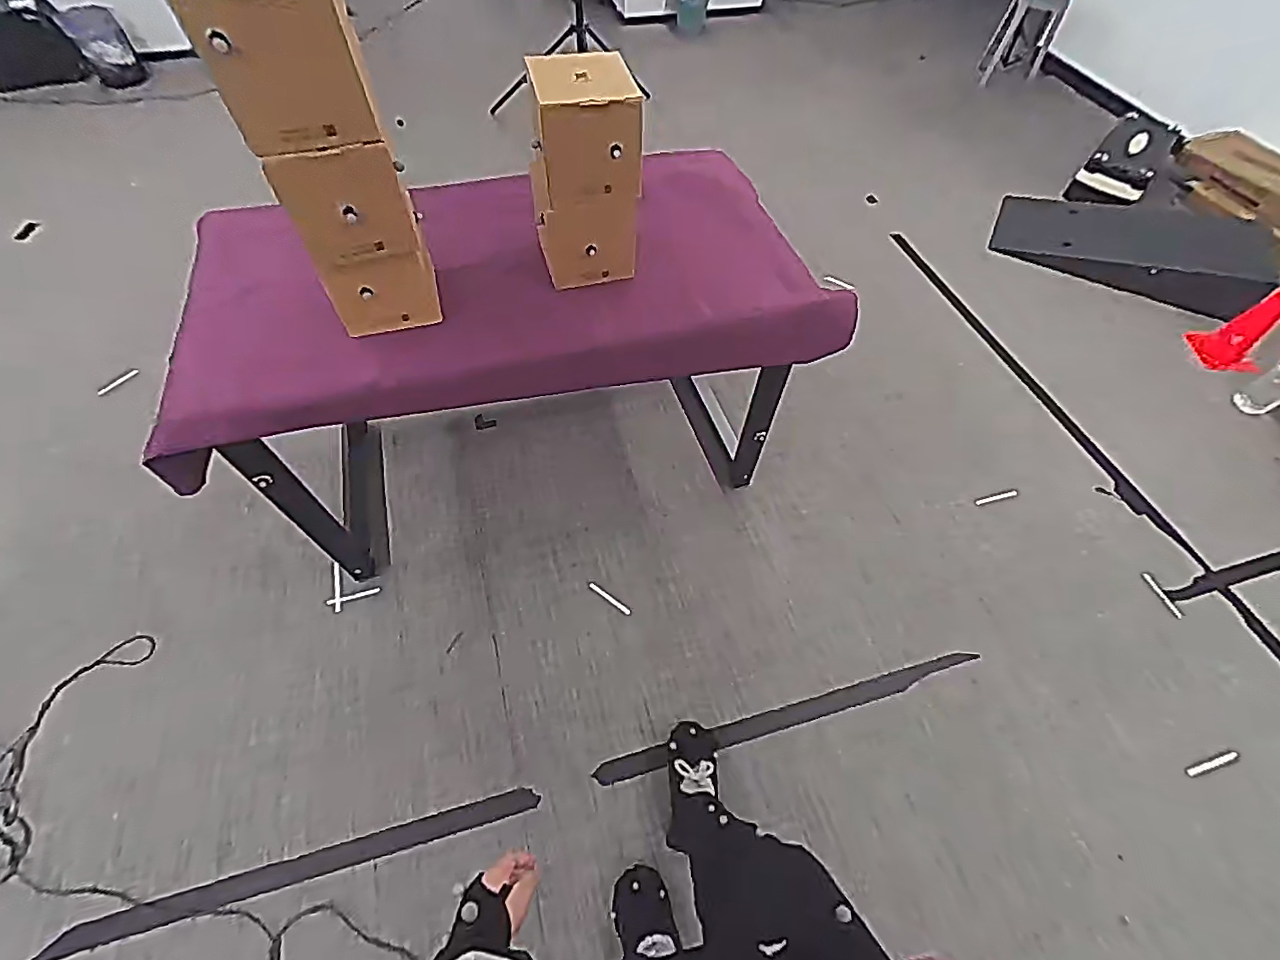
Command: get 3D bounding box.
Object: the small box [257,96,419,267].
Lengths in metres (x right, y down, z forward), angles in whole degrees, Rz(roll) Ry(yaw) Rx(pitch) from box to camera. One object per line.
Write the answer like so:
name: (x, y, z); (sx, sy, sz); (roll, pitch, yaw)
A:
small box: (-0.460, -0.454, 0.840); (0.168, 0.176, 0.179); (-18, 60, -13)

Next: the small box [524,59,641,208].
small box: (-0.099, -0.596, 0.943); (0.168, 0.176, 0.179); (-11, 58, -10)

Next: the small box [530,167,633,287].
small box: (-0.114, -0.503, 1.076); (0.168, 0.176, 0.179); (-13, 59, -11)

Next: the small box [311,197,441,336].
small box: (-0.475, -0.382, 0.988); (0.168, 0.176, 0.179); (-14, 59, -11)
